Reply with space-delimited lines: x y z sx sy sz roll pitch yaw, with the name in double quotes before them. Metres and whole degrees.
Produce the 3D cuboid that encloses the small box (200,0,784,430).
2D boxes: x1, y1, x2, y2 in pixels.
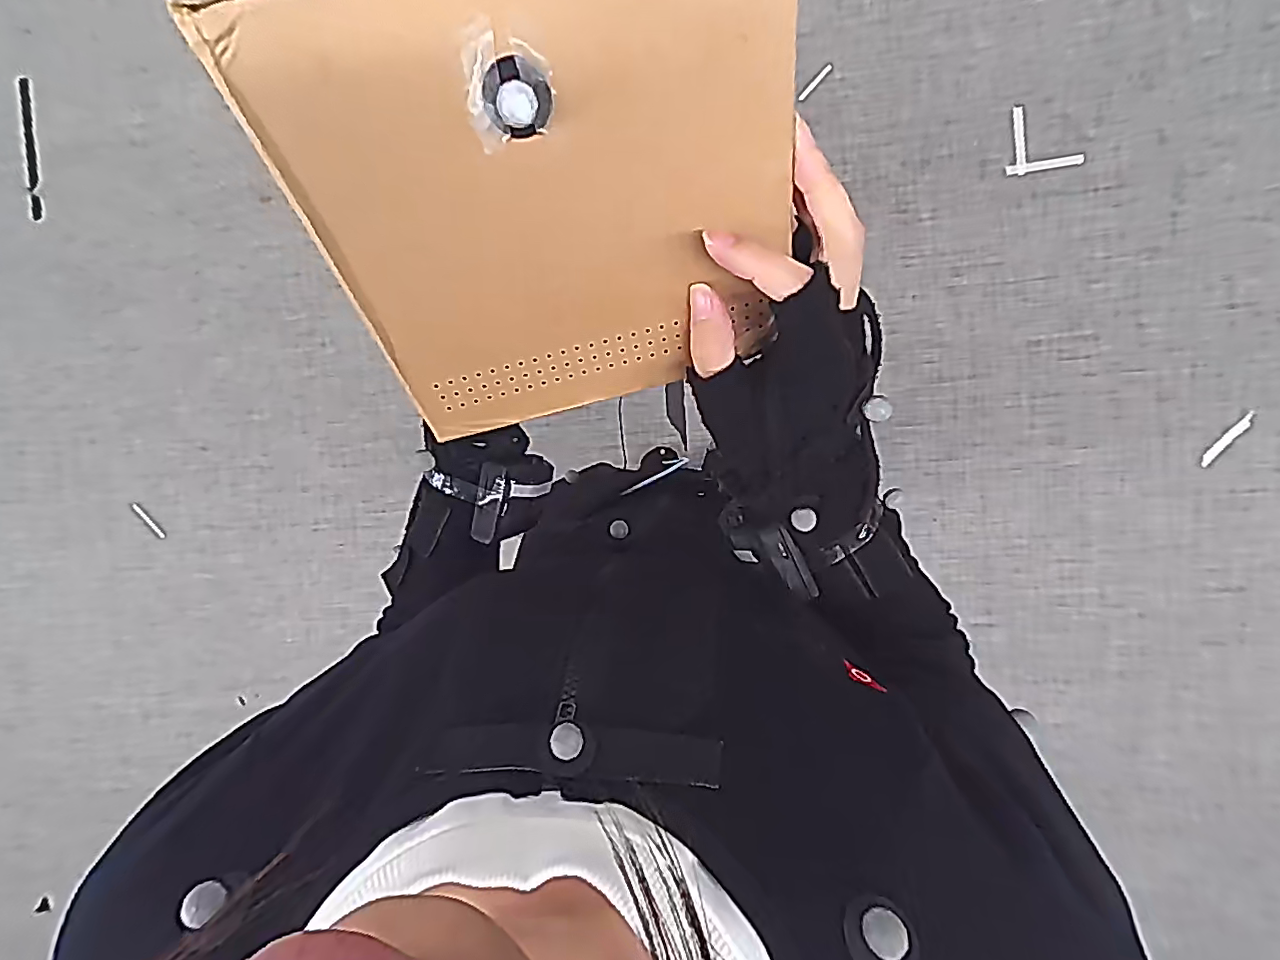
"small box" -0.038 -0.146 0.260 0.179 0.168 0.176 -14 137 1
